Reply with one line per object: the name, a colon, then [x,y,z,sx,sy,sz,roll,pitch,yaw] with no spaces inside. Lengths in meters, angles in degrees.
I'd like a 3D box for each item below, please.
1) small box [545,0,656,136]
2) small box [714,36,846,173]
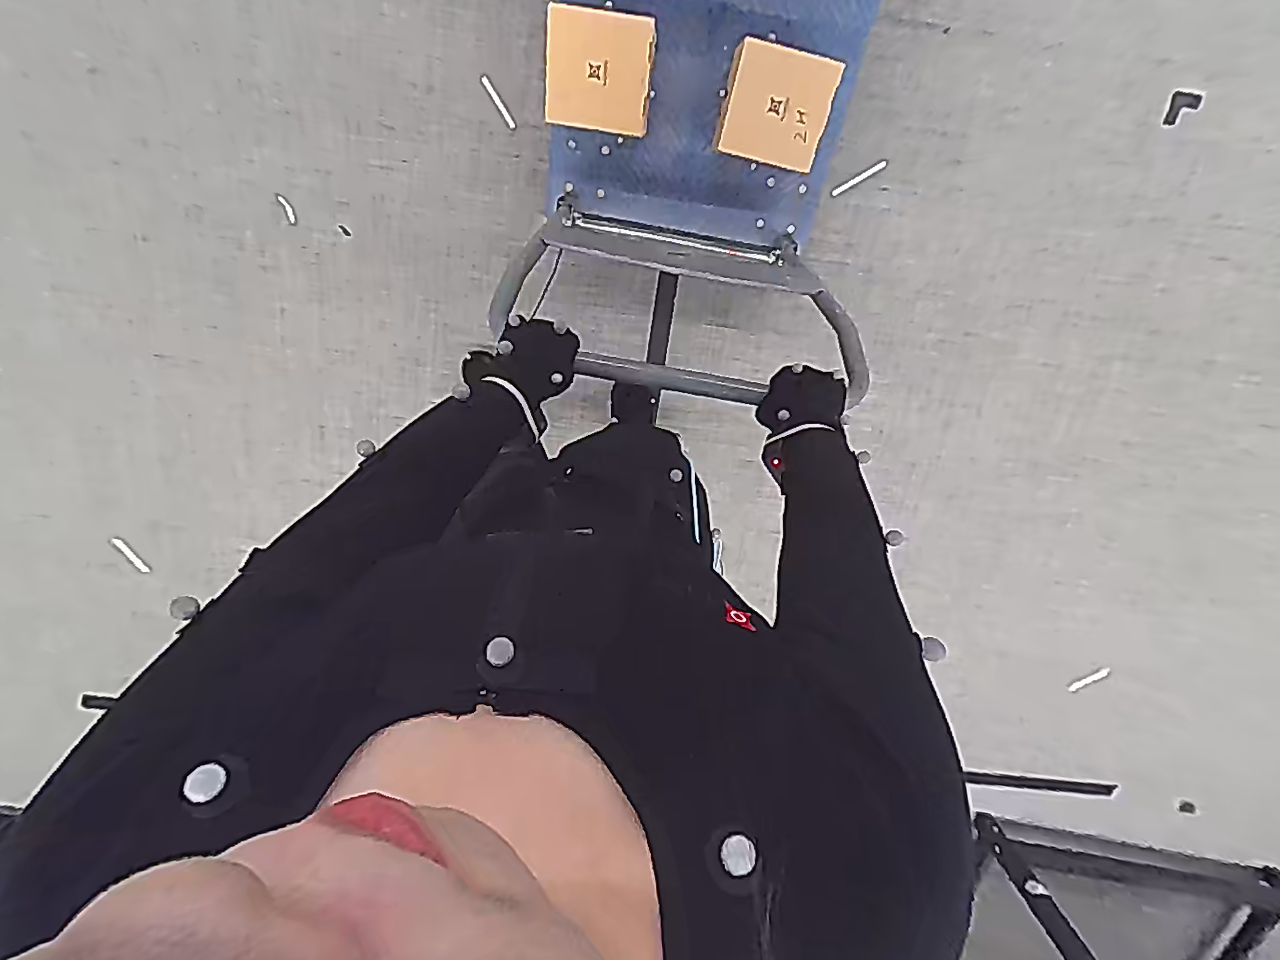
small box: [-0.069,-0.732,0.979,0.179,0.176,0.168,6,122,-3]
small box: [0.244,-0.681,0.997,0.179,0.176,0.168,12,122,-5]
